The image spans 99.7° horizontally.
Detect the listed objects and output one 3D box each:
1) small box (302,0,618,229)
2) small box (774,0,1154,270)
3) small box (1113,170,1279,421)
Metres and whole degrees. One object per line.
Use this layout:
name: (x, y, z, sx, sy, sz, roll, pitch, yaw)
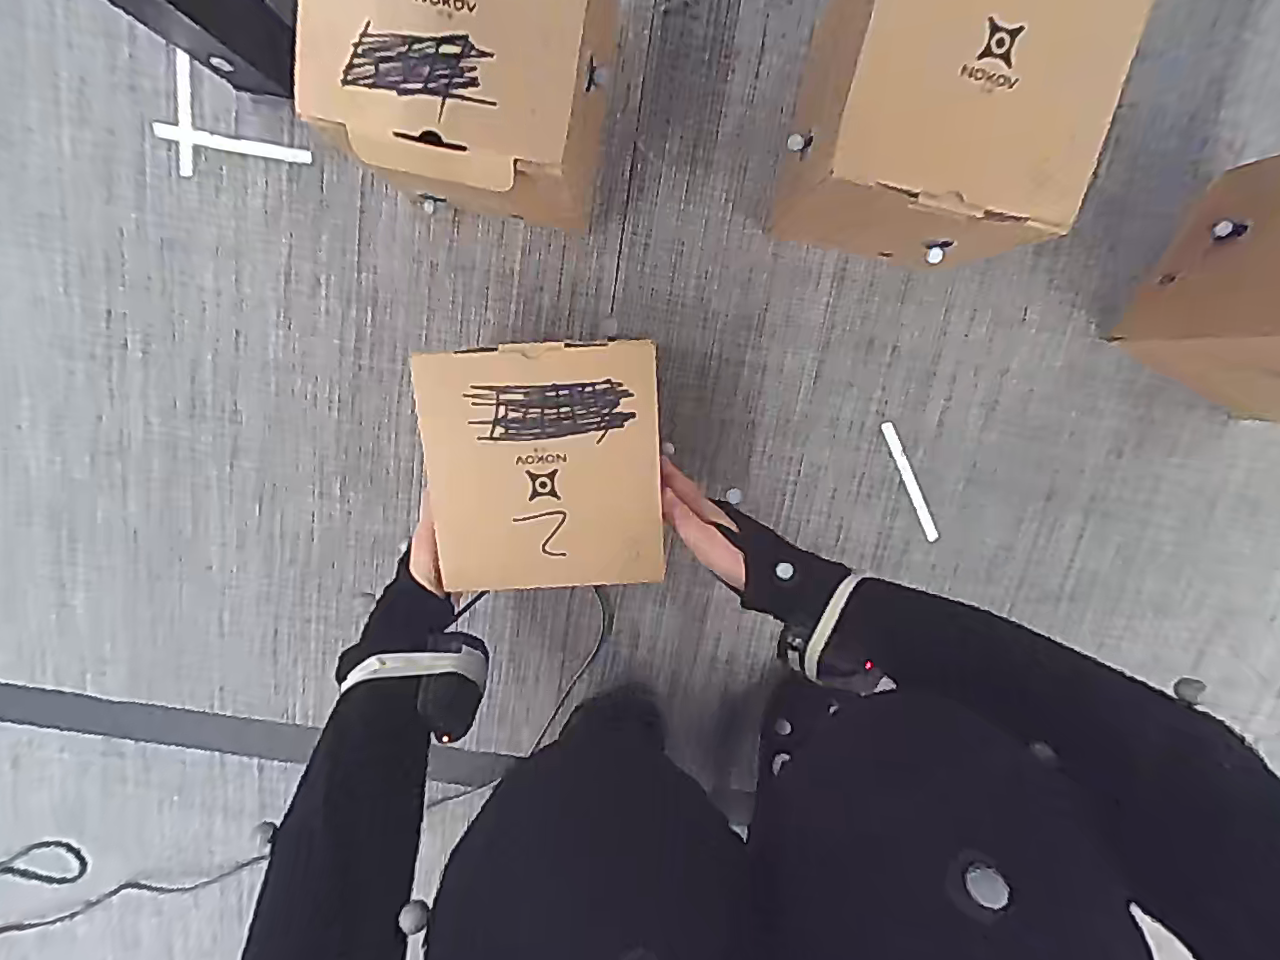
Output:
small box: (-0.109, -0.301, 0.391, 0.168, 0.176, 0.179, 10, 101, -4)
small box: (0.213, -0.271, 0.404, 0.168, 0.176, 0.179, 11, 101, -4)
small box: (0.563, -0.147, 0.438, 0.179, 0.176, 0.168, 26, 101, -6)
